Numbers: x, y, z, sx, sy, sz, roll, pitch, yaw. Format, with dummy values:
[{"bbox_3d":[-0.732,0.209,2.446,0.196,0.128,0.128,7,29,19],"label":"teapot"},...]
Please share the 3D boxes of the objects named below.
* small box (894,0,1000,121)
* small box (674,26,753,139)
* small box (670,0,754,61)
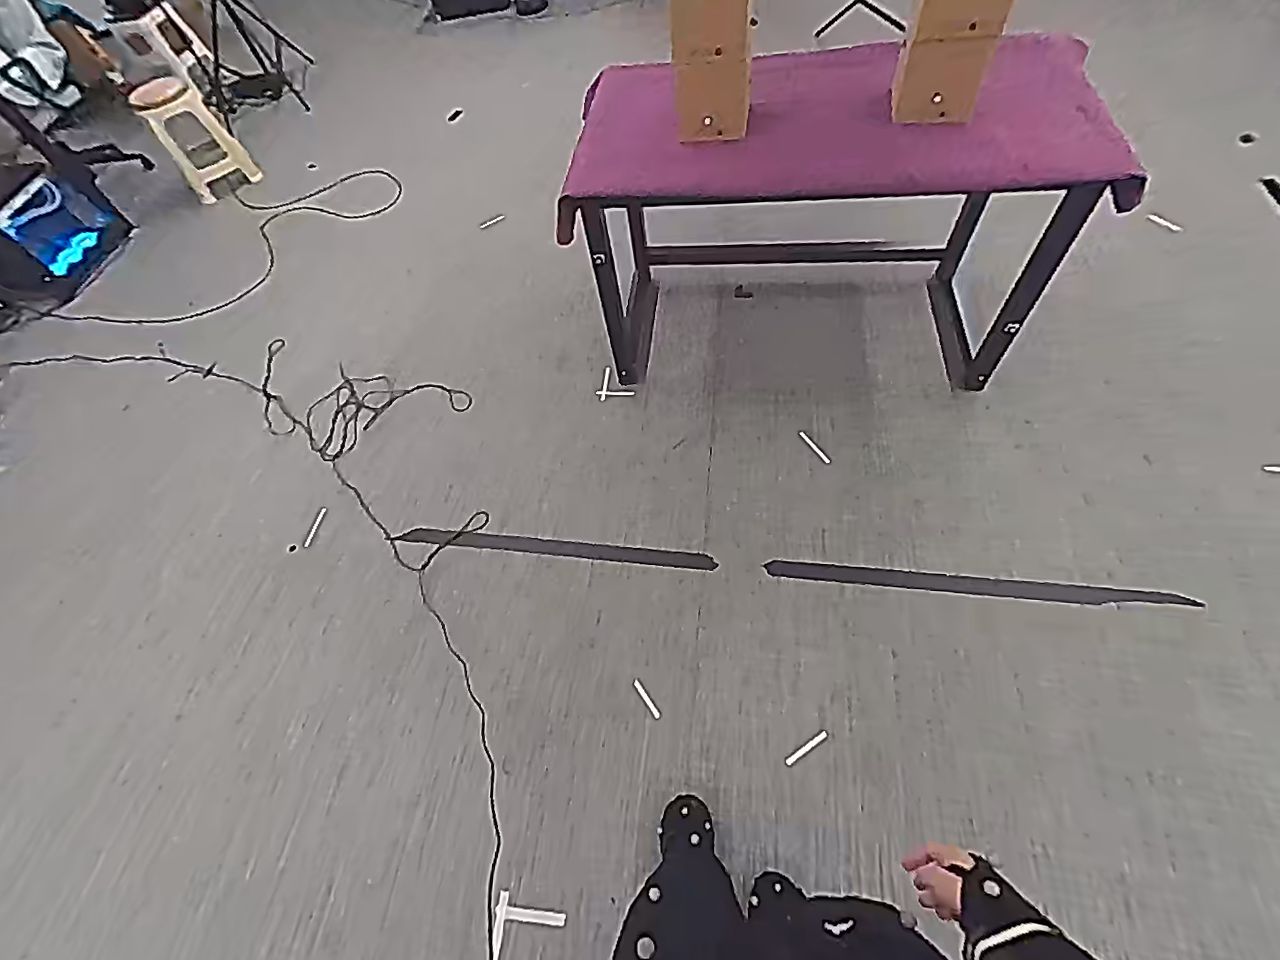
[{"bbox_3d":[0.680,-0.944,1.218,0.168,0.176,0.179,8,61,14],"label":"small box"},{"bbox_3d":[0.178,-0.948,1.295,0.168,0.176,0.179,4,61,11],"label":"small box"},{"bbox_3d":[0.157,-1.032,1.155,0.168,0.176,0.179,5,60,11],"label":"small box"}]
